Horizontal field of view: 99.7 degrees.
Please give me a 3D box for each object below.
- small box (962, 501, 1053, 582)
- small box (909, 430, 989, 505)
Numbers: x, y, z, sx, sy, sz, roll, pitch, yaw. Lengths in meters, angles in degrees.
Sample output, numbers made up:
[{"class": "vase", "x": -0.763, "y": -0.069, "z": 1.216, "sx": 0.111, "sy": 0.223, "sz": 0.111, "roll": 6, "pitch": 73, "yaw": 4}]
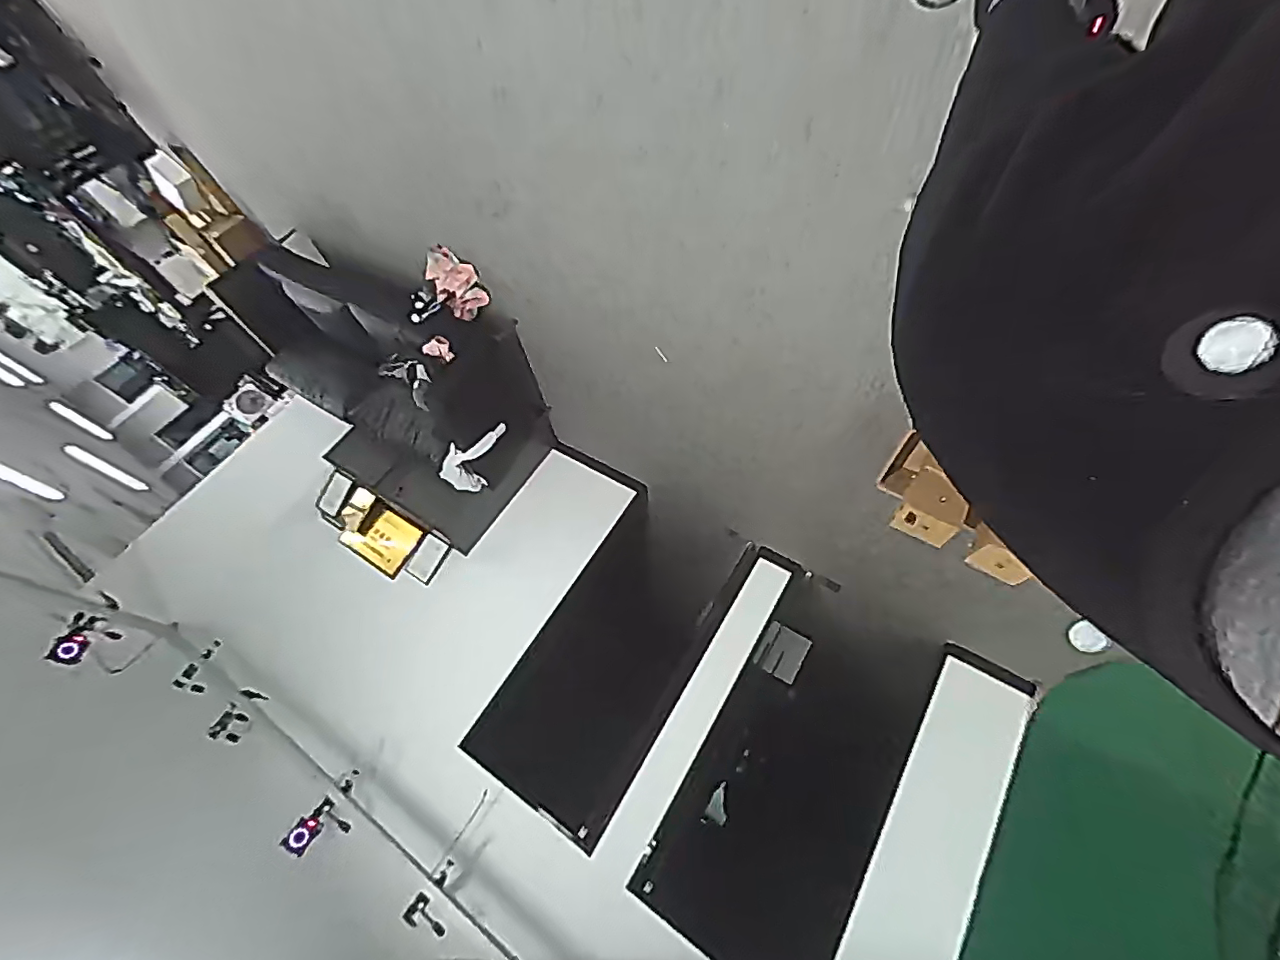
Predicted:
[{"class": "small box", "x": 1.193, "y": 0.199, "z": 1.756, "sx": 0.168, "sy": 0.176, "sz": 0.179, "roll": 29, "pitch": 156, "yaw": 16}, {"class": "small box", "x": 1.076, "y": -0.046, "z": 1.880, "sx": 0.179, "sy": 0.176, "sz": 0.168, "roll": 26, "pitch": 154, "yaw": 19}]
